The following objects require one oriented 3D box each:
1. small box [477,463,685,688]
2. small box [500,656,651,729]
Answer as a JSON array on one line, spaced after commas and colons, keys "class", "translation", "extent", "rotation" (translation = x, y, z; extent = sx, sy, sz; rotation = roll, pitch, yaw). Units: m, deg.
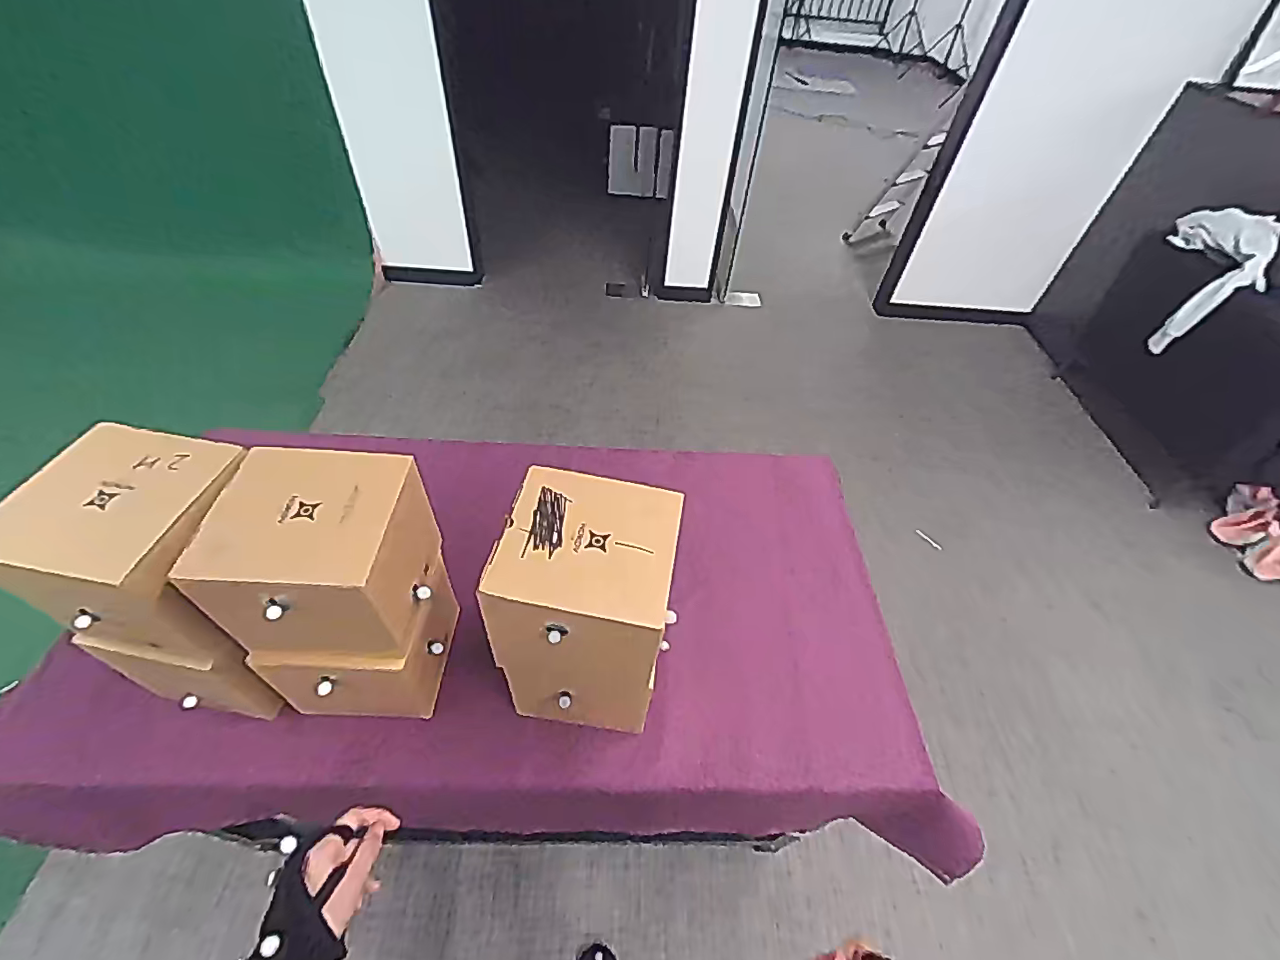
[{"class": "small box", "translation": [-0.057, 0.109, 0.596], "extent": [0.179, 0.176, 0.168], "rotation": [12, 48, 2]}, {"class": "small box", "translation": [-0.070, 0.213, 0.722], "extent": [0.179, 0.176, 0.168], "rotation": [9, 48, 2]}]
